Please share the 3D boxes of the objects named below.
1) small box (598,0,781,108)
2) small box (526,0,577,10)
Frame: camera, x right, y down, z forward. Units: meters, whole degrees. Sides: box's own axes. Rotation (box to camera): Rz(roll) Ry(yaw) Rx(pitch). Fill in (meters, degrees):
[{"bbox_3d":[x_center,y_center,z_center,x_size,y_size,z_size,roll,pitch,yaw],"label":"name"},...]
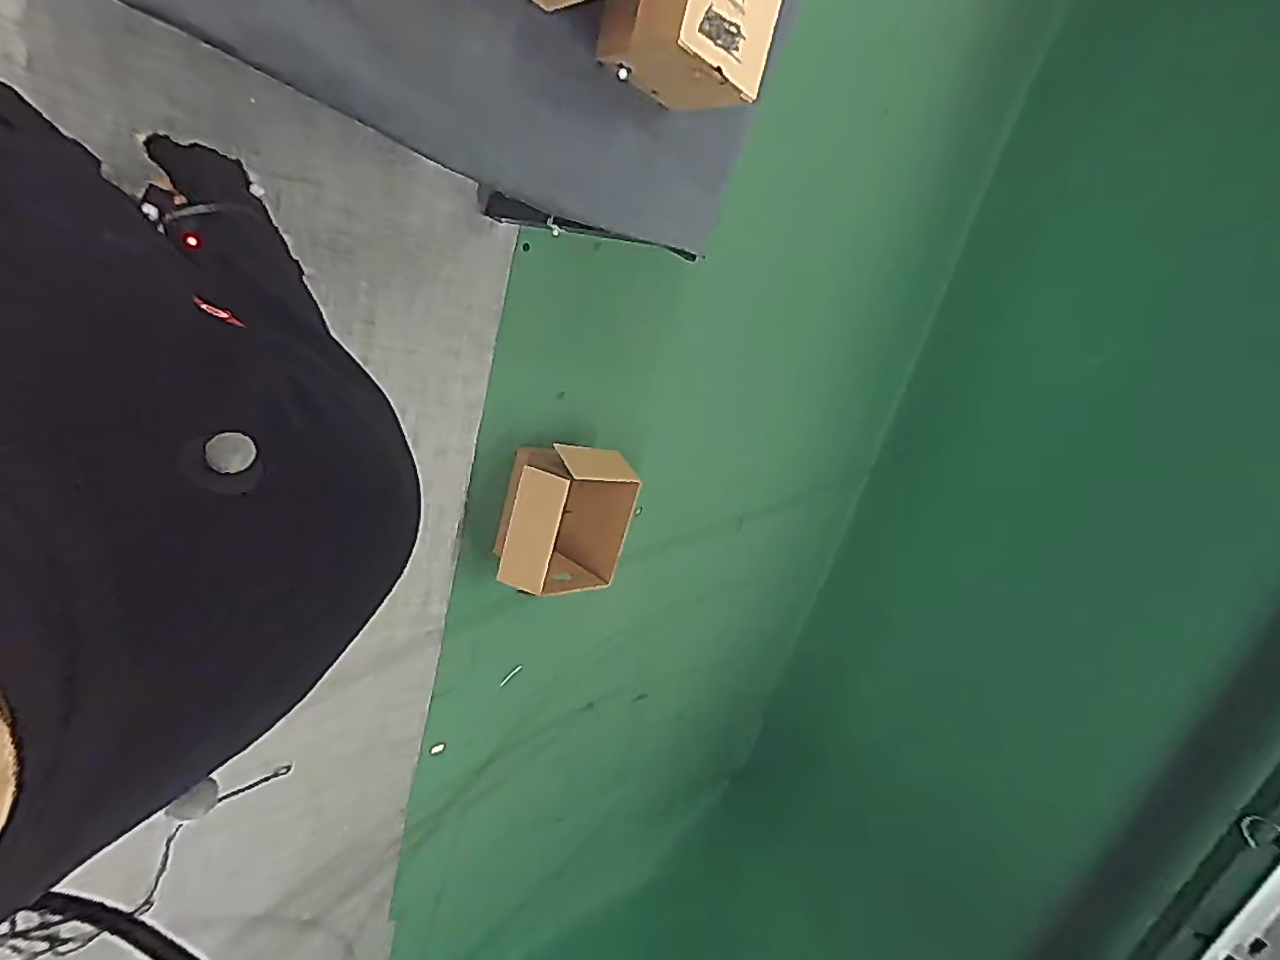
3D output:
[{"bbox_3d":[0.065,-0.633,0.728,0.168,0.176,0.179,-3,114,-46],"label":"small box"},{"bbox_3d":[-0.102,-0.635,0.555,0.168,0.176,0.179,-2,113,-46],"label":"small box"}]
